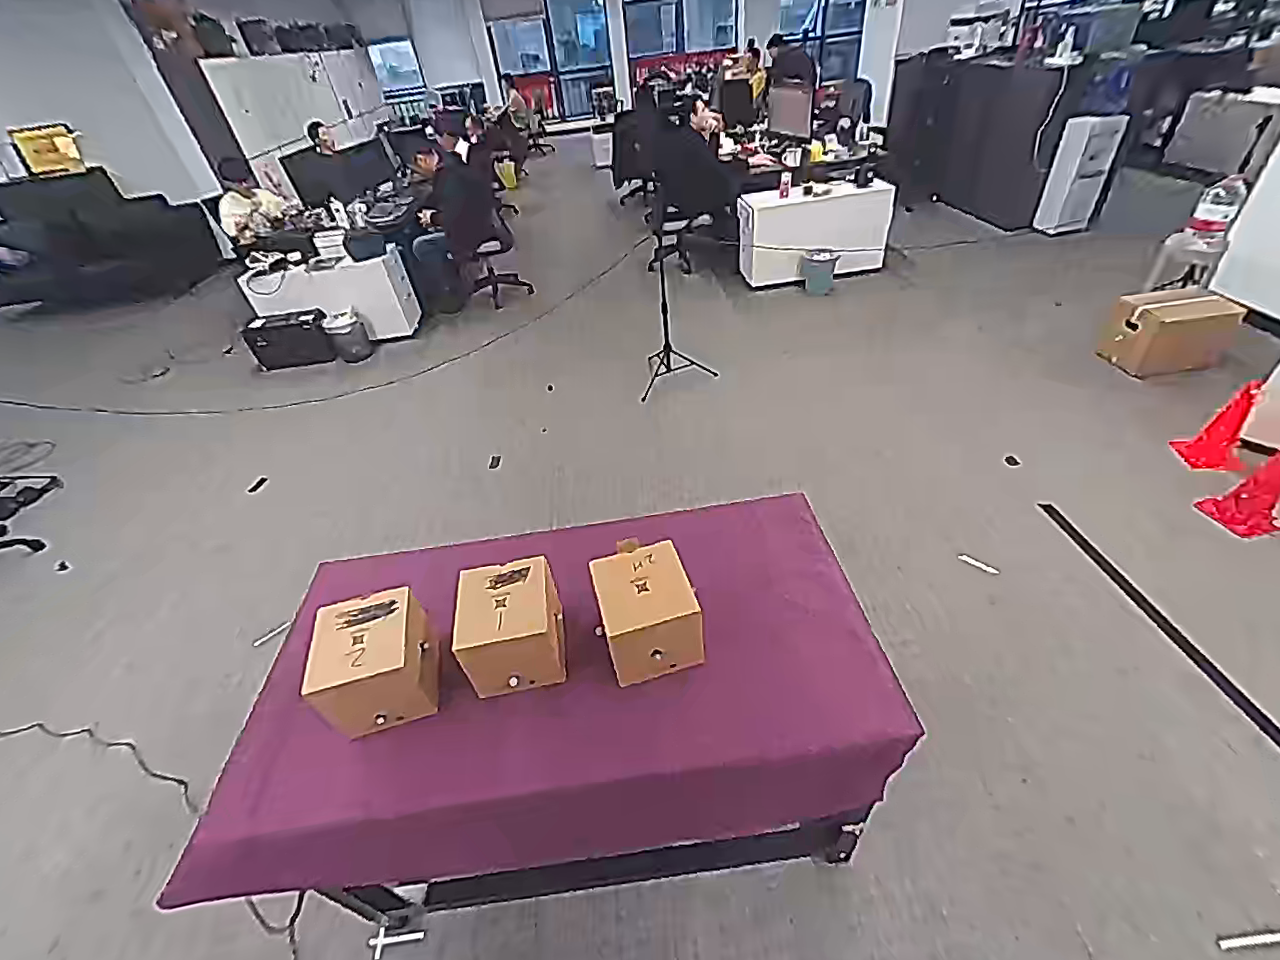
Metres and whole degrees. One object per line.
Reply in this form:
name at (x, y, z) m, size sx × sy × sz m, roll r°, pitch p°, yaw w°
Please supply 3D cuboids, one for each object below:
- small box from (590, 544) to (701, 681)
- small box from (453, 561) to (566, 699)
small box at (0.011, 0.255, 1.023) m, size 0.168 × 0.176 × 0.179 m, roll -14°, pitch 40°, yaw -8°
small box at (-0.241, 0.285, 1.031) m, size 0.168 × 0.176 × 0.179 m, roll -11°, pitch 41°, yaw -3°
